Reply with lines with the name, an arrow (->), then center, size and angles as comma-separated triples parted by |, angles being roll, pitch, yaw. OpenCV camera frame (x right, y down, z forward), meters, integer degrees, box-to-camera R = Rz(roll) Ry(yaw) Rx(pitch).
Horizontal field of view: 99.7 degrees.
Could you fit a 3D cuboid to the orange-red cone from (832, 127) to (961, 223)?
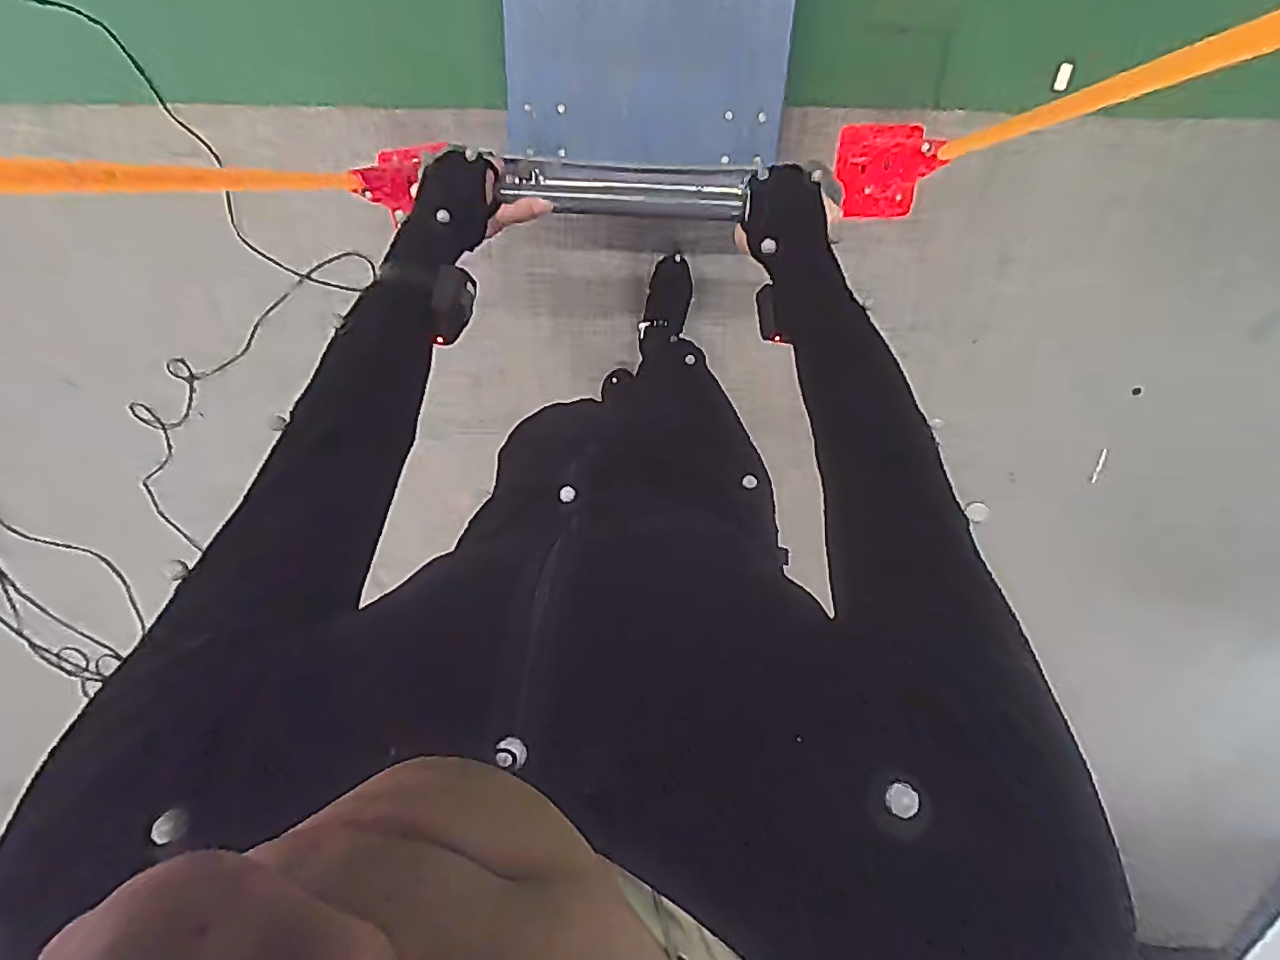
orange-red cone -> 0.564, -0.662, 1.137 | 0.198, 0.360, 0.199 | 2, 113, 1
